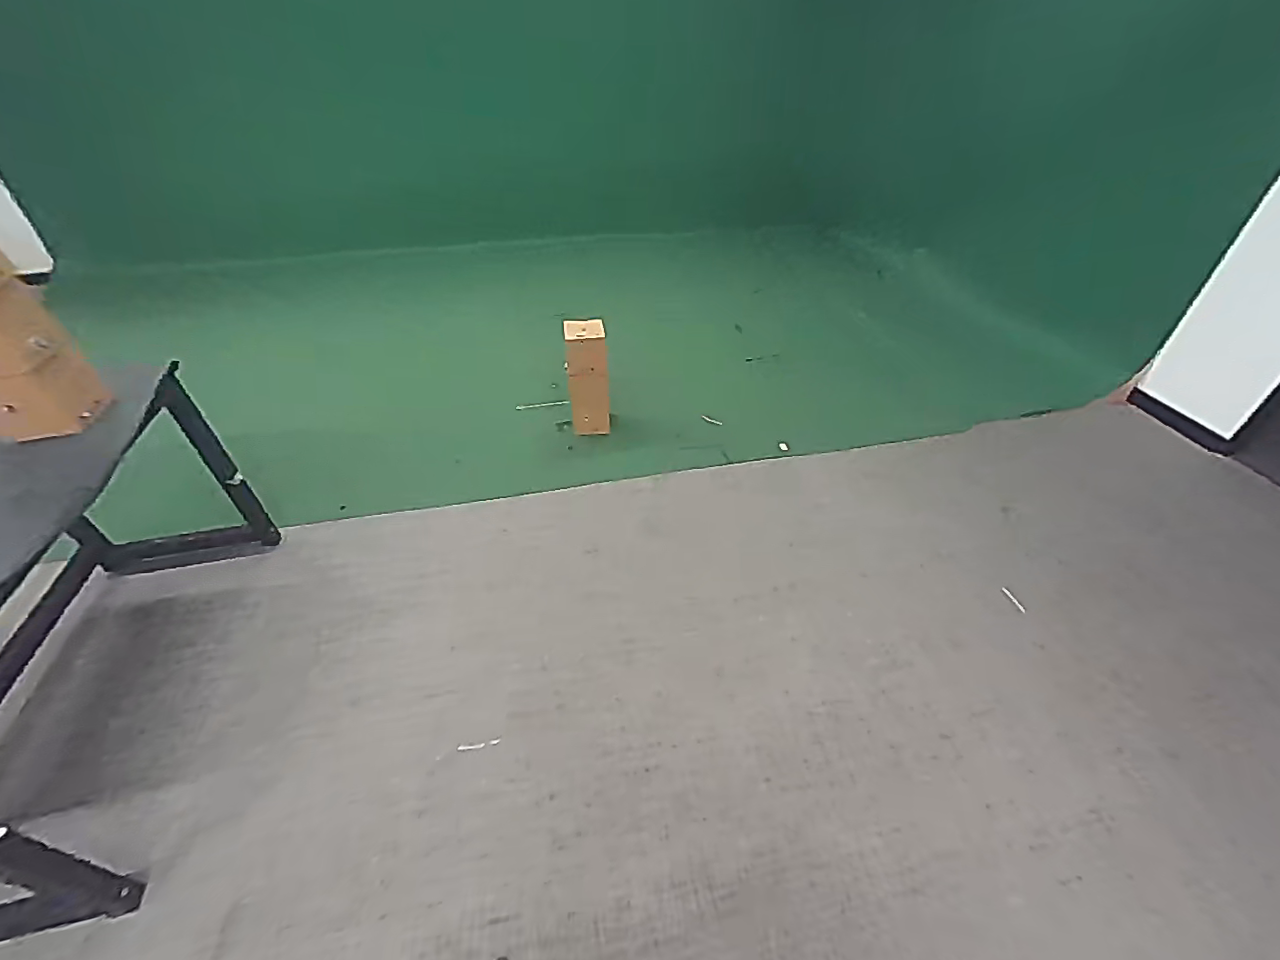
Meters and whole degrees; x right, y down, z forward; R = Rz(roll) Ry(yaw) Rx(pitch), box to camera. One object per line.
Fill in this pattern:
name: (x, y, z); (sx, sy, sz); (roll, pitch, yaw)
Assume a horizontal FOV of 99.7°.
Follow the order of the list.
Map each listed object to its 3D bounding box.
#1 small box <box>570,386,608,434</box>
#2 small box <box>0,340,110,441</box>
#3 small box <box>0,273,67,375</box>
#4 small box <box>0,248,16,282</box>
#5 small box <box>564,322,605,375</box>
small box: (-0.237, -0.325, 2.544); (0.168, 0.176, 0.179); (-3, 41, -3)
small box: (-1.457, -0.216, 1.303); (0.179, 0.176, 0.168); (-10, 43, -7)
small box: (-1.458, -0.336, 1.194); (0.179, 0.176, 0.168); (-12, 44, -11)
small box: (-1.455, -0.461, 1.086); (0.179, 0.176, 0.168); (-14, 45, -13)
small box: (-0.239, -0.565, 2.319); (0.168, 0.176, 0.179); (-5, 41, -7)
